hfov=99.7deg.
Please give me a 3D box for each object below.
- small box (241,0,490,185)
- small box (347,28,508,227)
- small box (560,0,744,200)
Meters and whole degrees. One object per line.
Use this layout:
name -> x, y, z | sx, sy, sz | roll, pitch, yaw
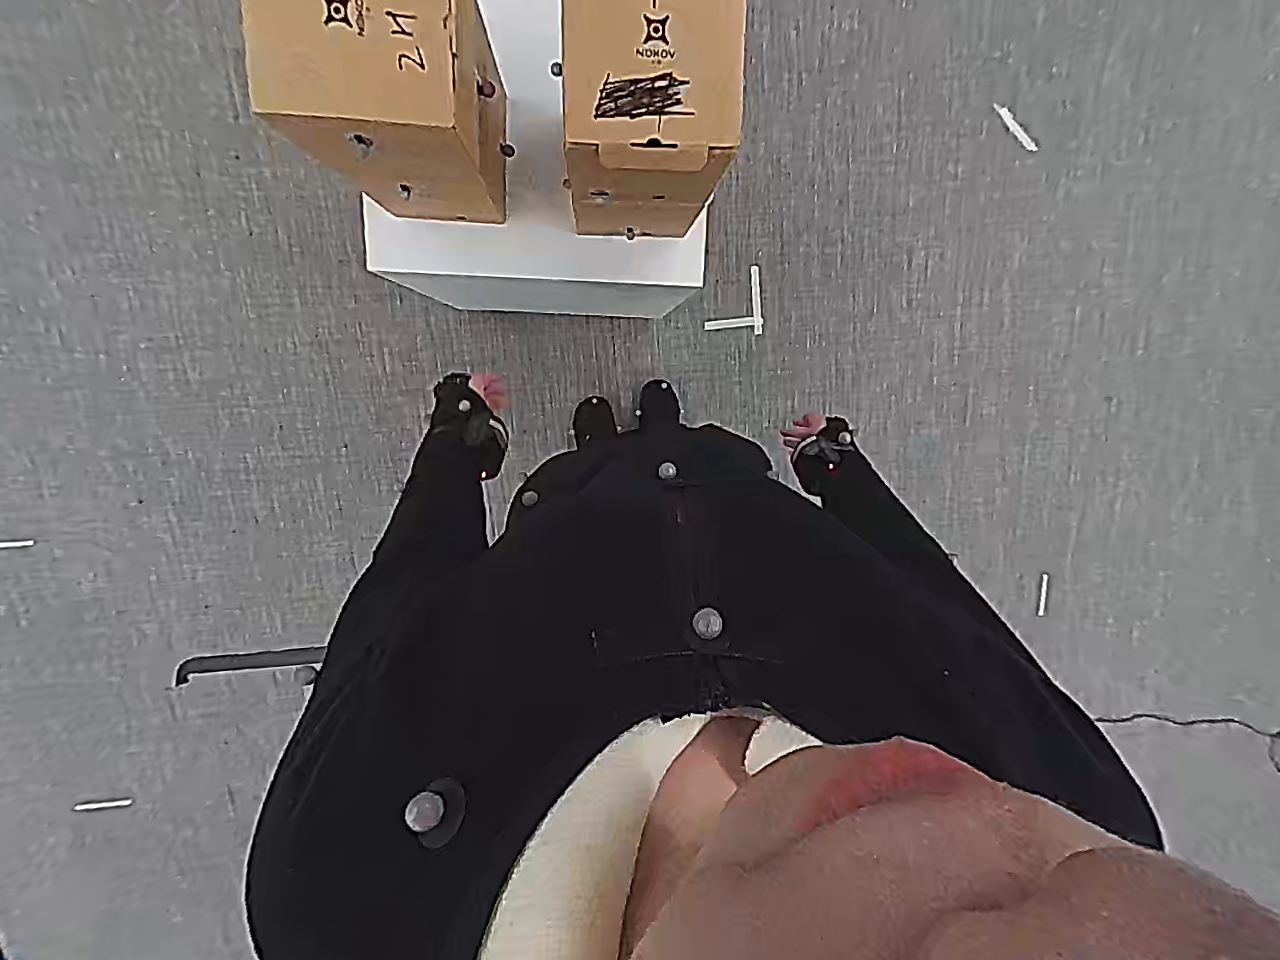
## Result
small box -> -0.254, -0.411, 0.538 | 0.179, 0.176, 0.168 | 1, 102, -5
small box -> -0.267, -0.449, 0.698 | 0.168, 0.176, 0.179 | 2, 101, -5
small box -> 0.006, -0.406, 0.561 | 0.168, 0.176, 0.179 | 0, 101, -4
